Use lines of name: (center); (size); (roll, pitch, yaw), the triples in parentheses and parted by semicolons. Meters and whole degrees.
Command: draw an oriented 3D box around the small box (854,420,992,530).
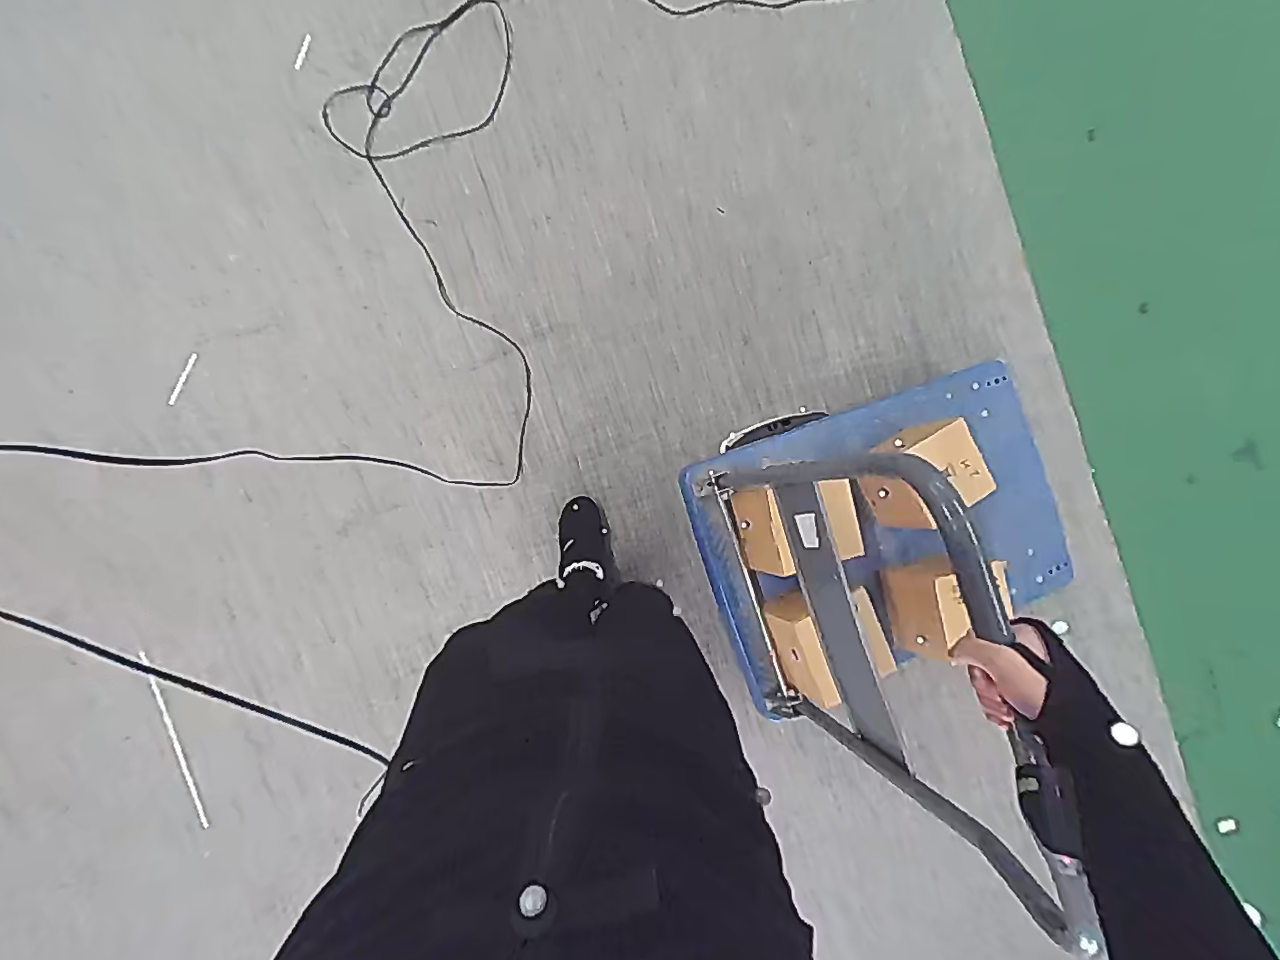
small box: (0.585, -0.006, 1.146); (0.179, 0.176, 0.168); (-28, 94, -12)

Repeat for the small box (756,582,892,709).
small box: (0.356, 0.315, 1.079); (0.168, 0.176, 0.179); (-22, 93, -12)

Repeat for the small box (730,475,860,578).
small box: (0.302, 0.085, 1.081); (0.179, 0.176, 0.168); (-12, 91, -12)
